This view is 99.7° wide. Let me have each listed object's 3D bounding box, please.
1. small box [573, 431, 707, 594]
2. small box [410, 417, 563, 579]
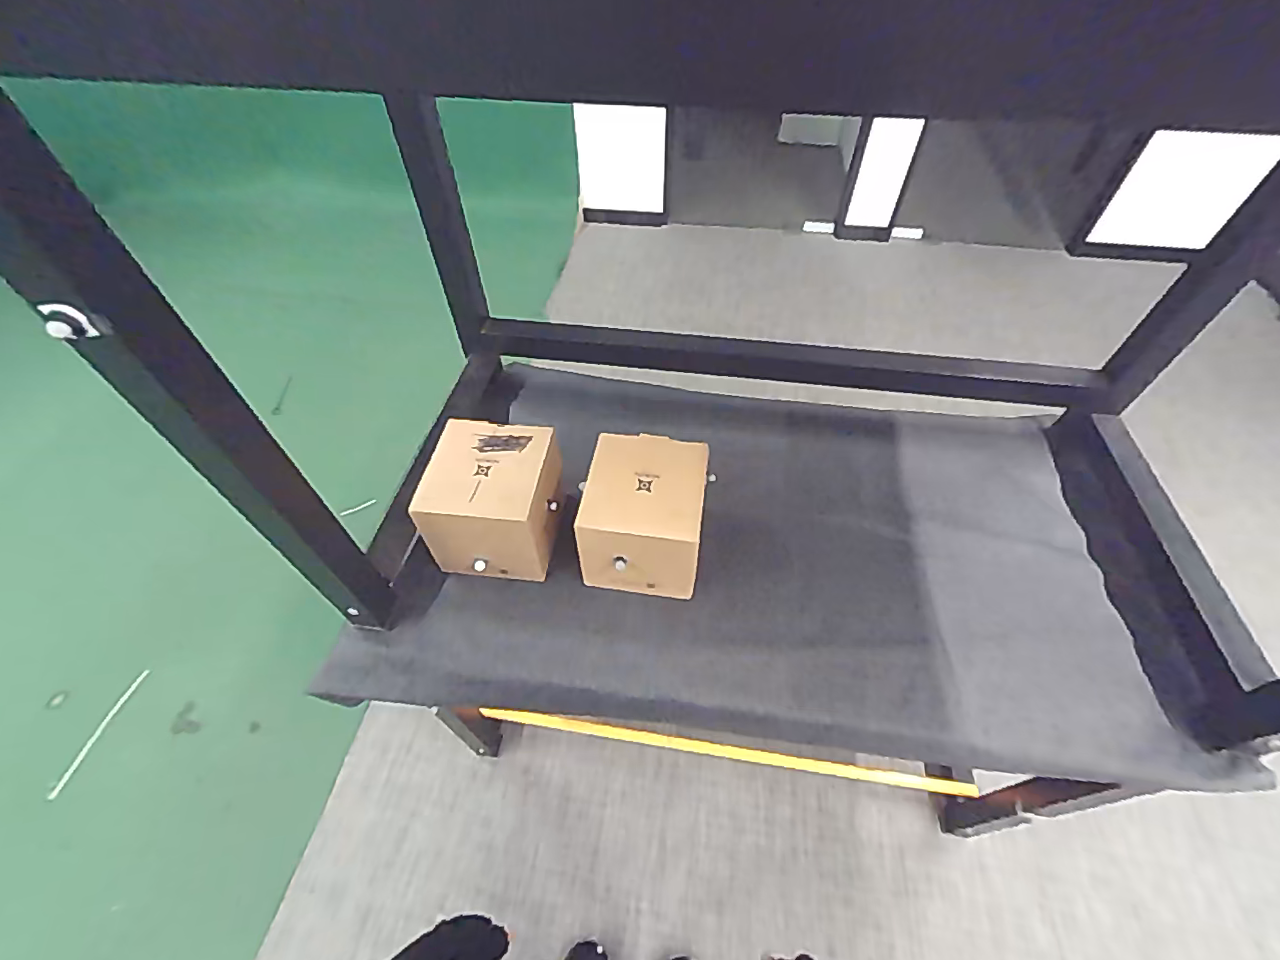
[{"bbox_3d":[0.007,0.052,0.811,0.168,0.176,0.179,7,50,6],"label":"small box"},{"bbox_3d":[-0.219,0.029,0.828,0.168,0.176,0.179,5,51,4],"label":"small box"}]
